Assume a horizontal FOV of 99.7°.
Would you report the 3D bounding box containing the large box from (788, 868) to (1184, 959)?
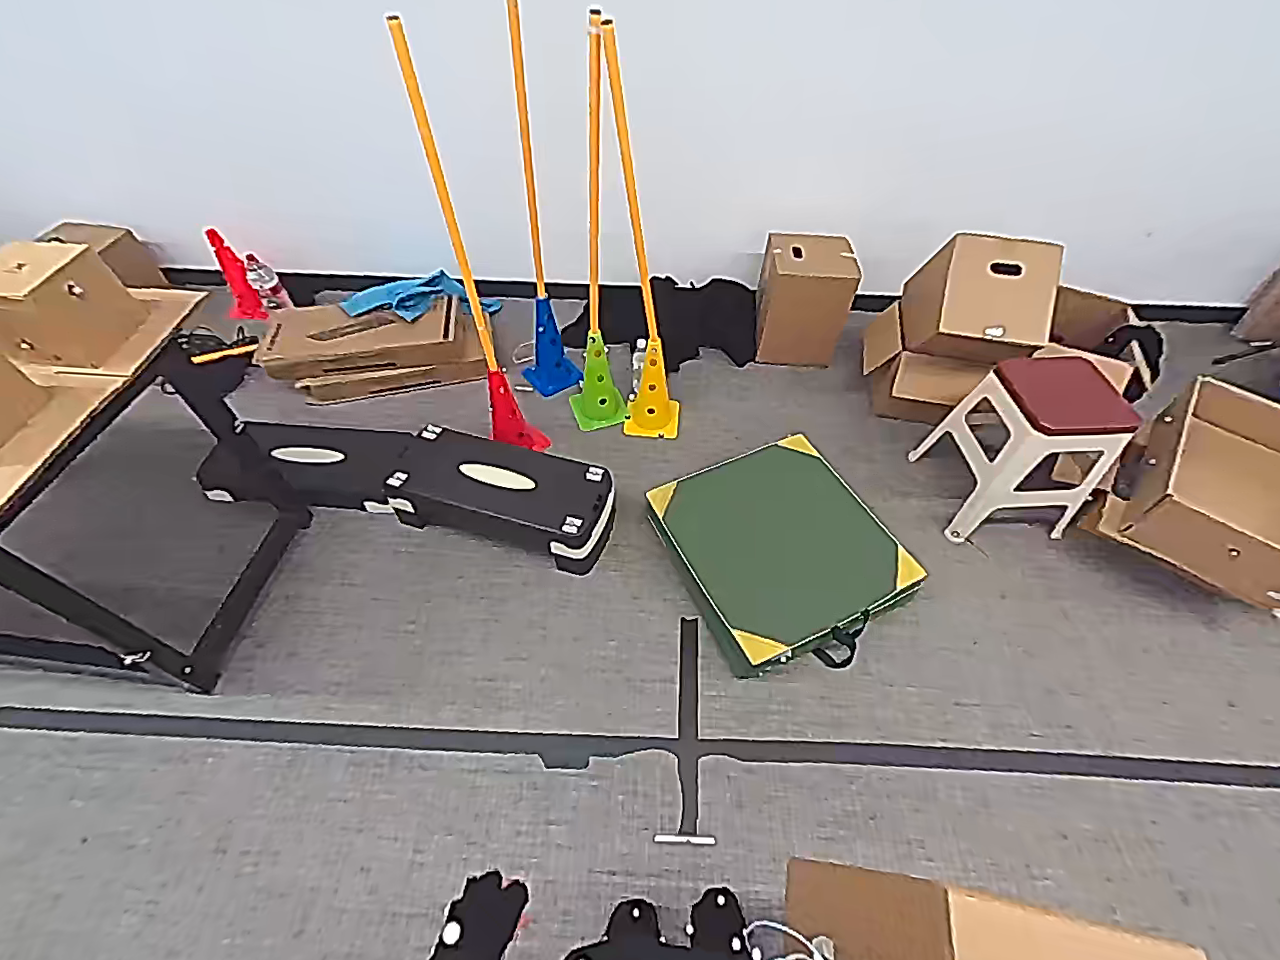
[{"bbox_3d":[0.416,0.711,0.683,0.320,0.408,0.320,14,56,-3],"label":"large box"}]
